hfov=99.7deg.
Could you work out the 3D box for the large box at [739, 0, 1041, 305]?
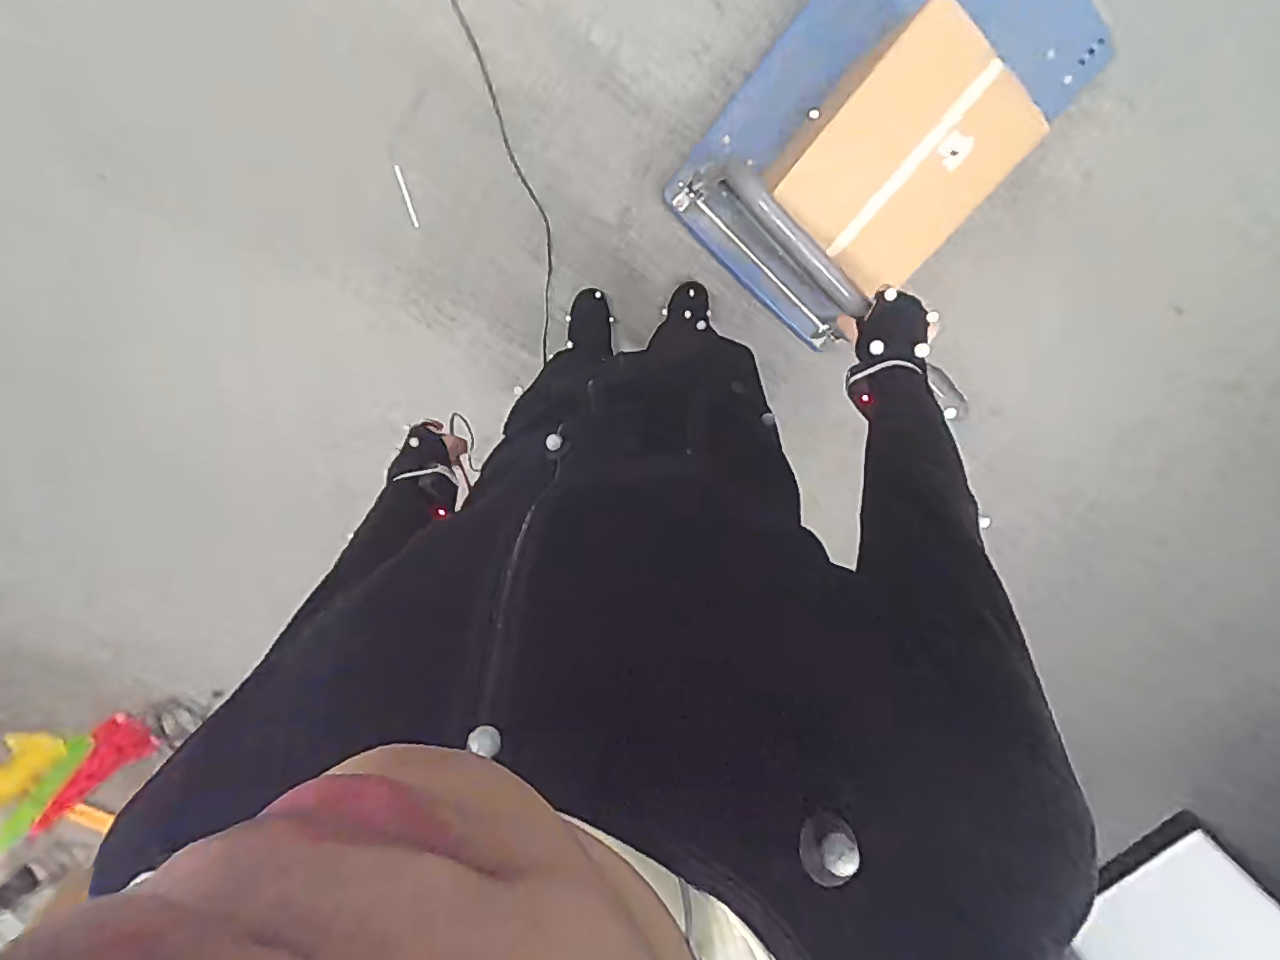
[{"bbox_3d":[0.472,-0.628,1.114,0.320,0.320,0.408,37,106,-17],"label":"large box"}]
